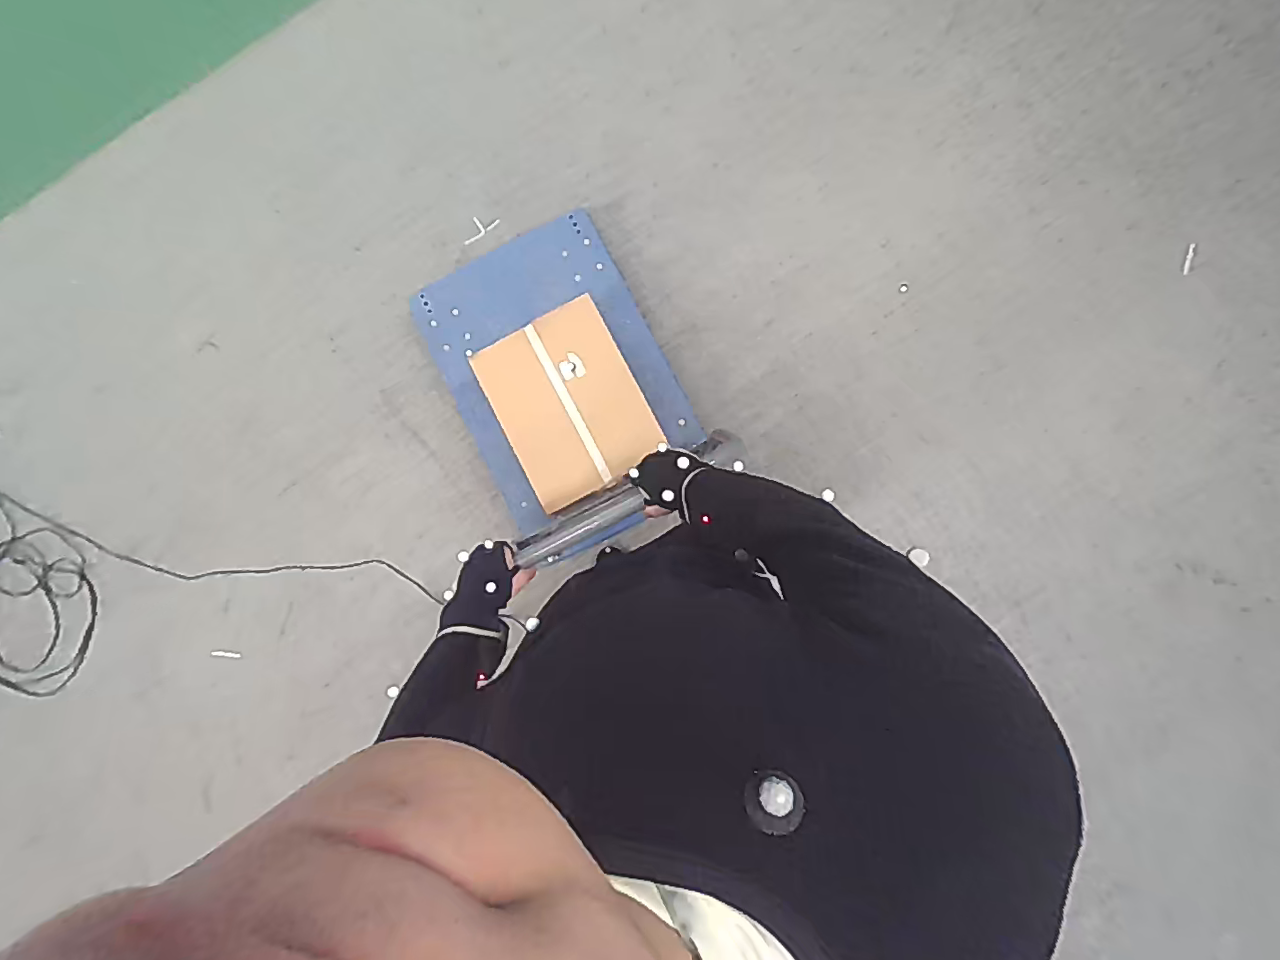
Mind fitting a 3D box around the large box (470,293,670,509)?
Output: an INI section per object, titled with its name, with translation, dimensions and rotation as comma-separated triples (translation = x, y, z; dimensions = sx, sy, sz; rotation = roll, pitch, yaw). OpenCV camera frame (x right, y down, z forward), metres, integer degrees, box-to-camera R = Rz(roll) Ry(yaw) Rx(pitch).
[large box]
translation = -0.151, -0.172, 1.357
dimensions = 0.320, 0.320, 0.408
rotation = -28, 85, 1
